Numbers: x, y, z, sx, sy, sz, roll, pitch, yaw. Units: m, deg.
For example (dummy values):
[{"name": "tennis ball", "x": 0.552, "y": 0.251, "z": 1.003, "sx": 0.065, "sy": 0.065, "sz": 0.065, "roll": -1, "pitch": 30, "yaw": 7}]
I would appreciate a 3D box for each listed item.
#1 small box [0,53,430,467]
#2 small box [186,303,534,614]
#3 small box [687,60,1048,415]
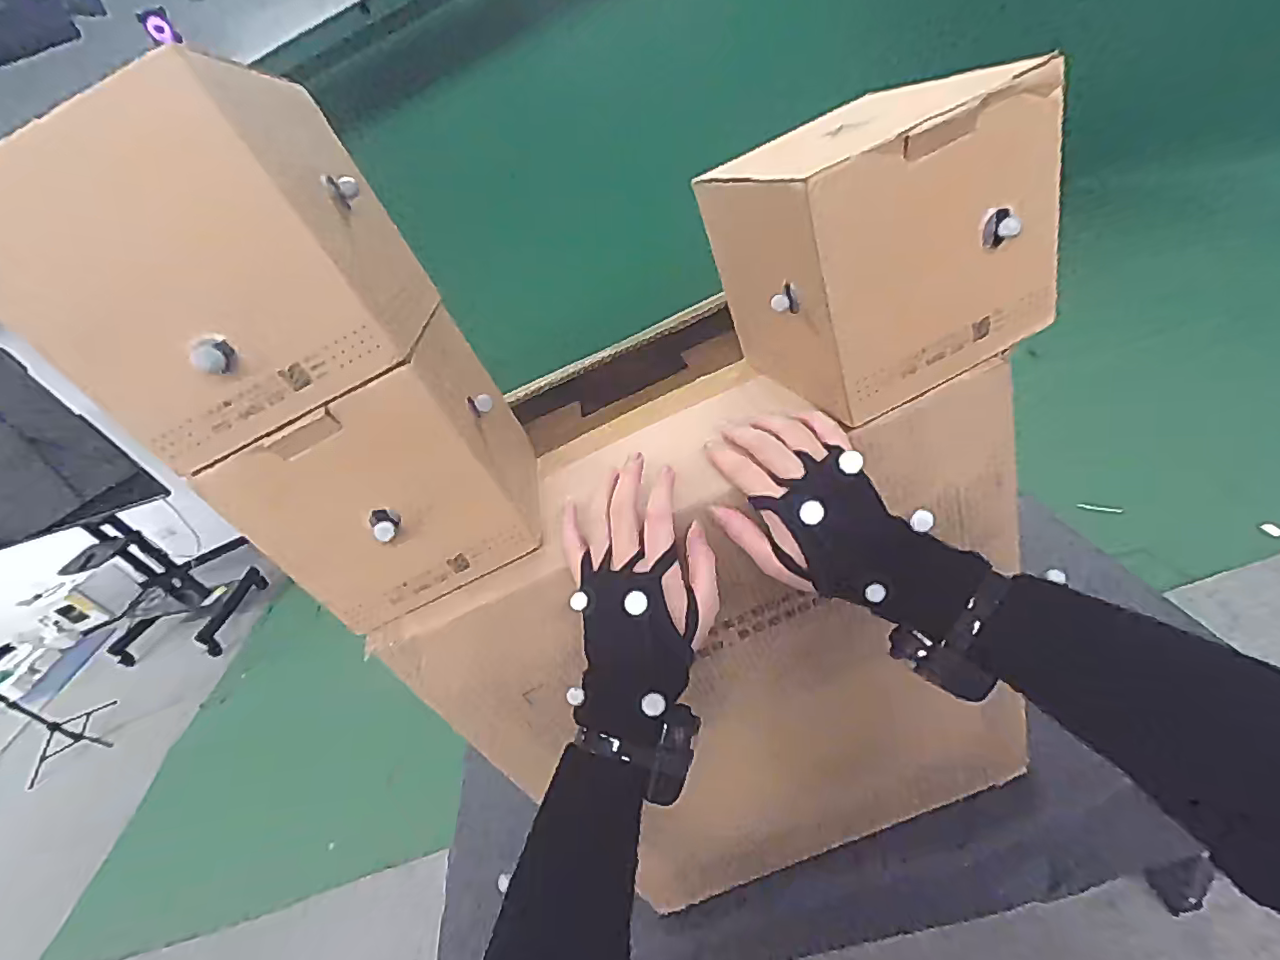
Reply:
[{"name": "small box", "x": -0.265, "y": -0.138, "z": 0.360, "sx": 0.168, "sy": 0.176, "sz": 0.179, "roll": -26, "pitch": 33, "yaw": 4}, {"name": "small box", "x": -0.200, "y": -0.015, "z": 0.449, "sx": 0.168, "sy": 0.176, "sz": 0.179, "roll": -26, "pitch": 33, "yaw": 3}, {"name": "small box", "x": 0.161, "y": -0.170, "z": 0.408, "sx": 0.168, "sy": 0.176, "sz": 0.179, "roll": -27, "pitch": 32, "yaw": -3}]
